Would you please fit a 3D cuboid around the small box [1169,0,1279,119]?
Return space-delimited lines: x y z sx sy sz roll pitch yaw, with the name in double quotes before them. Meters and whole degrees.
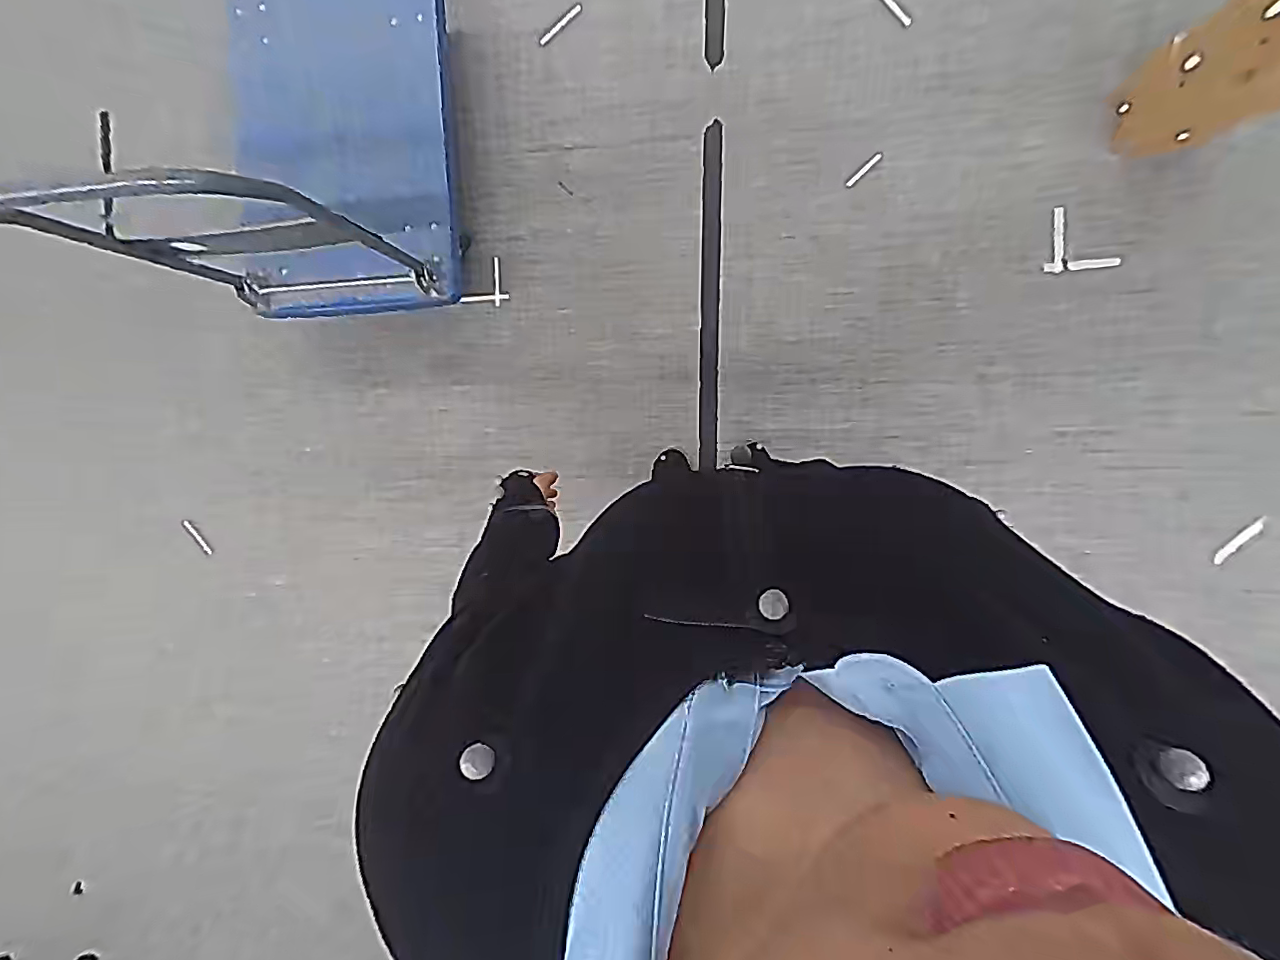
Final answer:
"small box" 1.211 -0.839 1.058 0.179 0.176 0.168 4 94 8

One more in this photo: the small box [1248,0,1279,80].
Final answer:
"small box" 1.191 -0.815 0.898 0.179 0.176 0.168 -8 93 8
